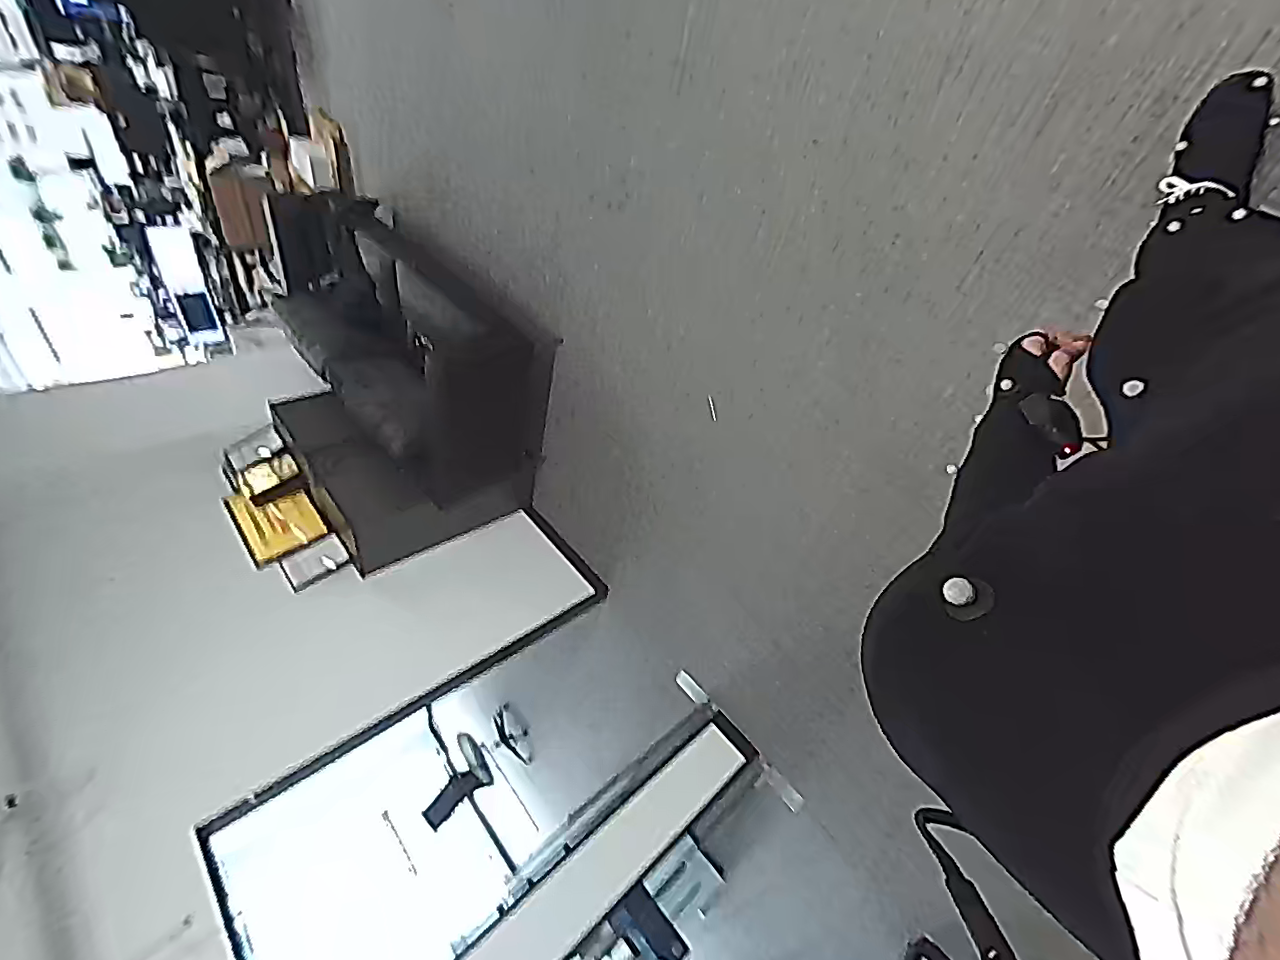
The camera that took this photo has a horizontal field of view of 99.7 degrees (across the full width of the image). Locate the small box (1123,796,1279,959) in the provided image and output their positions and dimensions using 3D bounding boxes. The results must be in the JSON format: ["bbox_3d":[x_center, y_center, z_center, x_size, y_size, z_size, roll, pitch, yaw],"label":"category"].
[{"bbox_3d":[0.927,0.637,0.845,0.168,0.176,0.179,47,139,22],"label":"small box"}]
